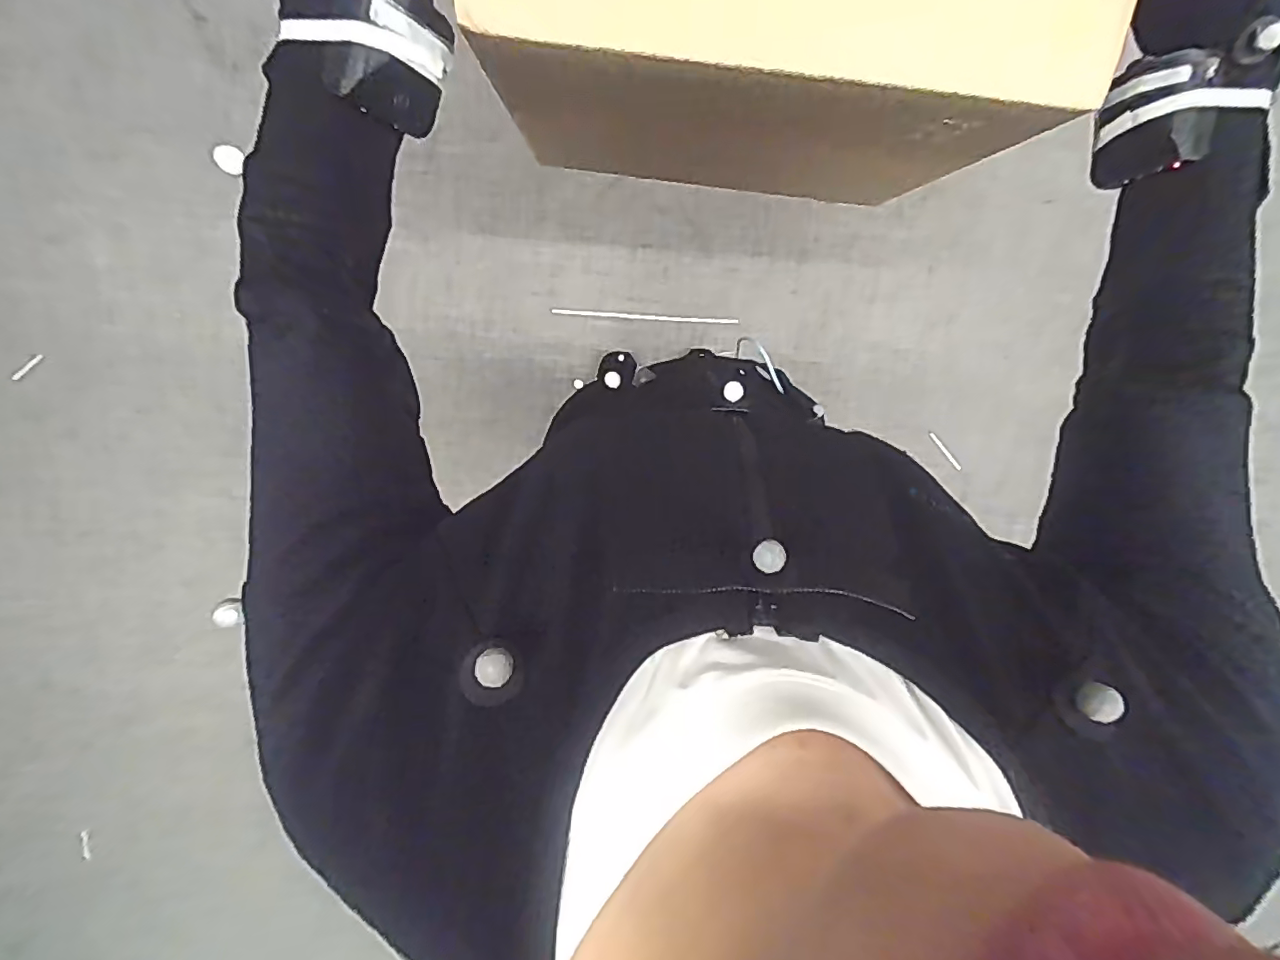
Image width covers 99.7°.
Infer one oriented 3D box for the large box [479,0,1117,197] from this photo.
[{"bbox_3d":[0.101,-0.448,0.442,0.408,0.320,0.320,4,107,-4],"label":"large box"}]
